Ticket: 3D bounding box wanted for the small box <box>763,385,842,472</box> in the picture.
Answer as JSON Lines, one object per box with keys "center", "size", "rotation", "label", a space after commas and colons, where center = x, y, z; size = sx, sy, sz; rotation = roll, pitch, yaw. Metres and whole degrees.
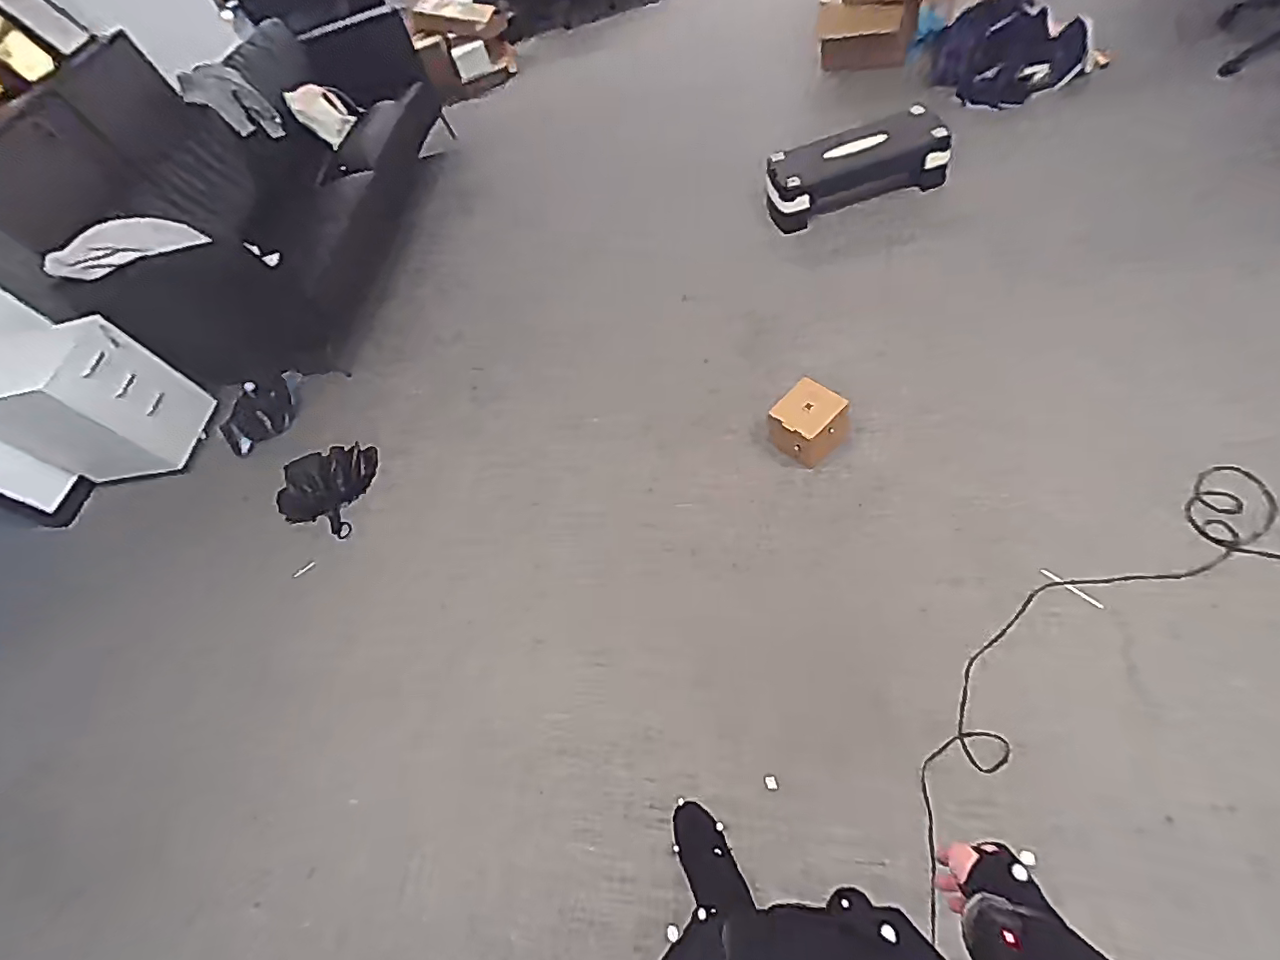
{"center": [0.508, -0.156, 1.693], "size": [0.179, 0.176, 0.168], "rotation": [-43, 57, -13], "label": "small box"}
